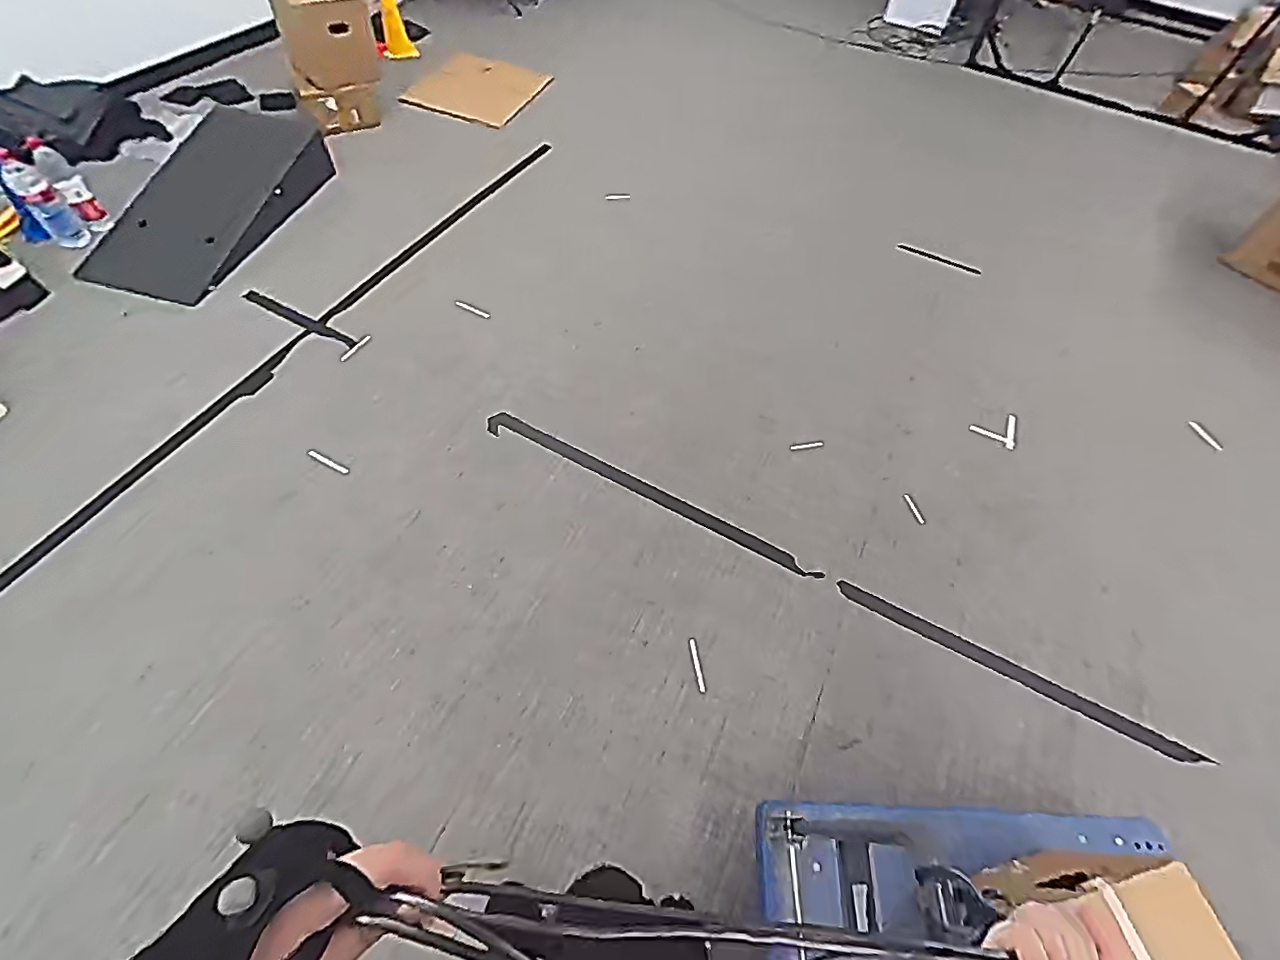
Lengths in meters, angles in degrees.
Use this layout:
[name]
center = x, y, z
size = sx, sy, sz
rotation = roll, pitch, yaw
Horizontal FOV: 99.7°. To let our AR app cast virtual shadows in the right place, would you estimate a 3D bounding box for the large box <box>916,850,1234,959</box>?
[large box]
center = 0.733, 0.870, 0.859
size = 0.320, 0.320, 0.408
rotation = -8, 60, -10
